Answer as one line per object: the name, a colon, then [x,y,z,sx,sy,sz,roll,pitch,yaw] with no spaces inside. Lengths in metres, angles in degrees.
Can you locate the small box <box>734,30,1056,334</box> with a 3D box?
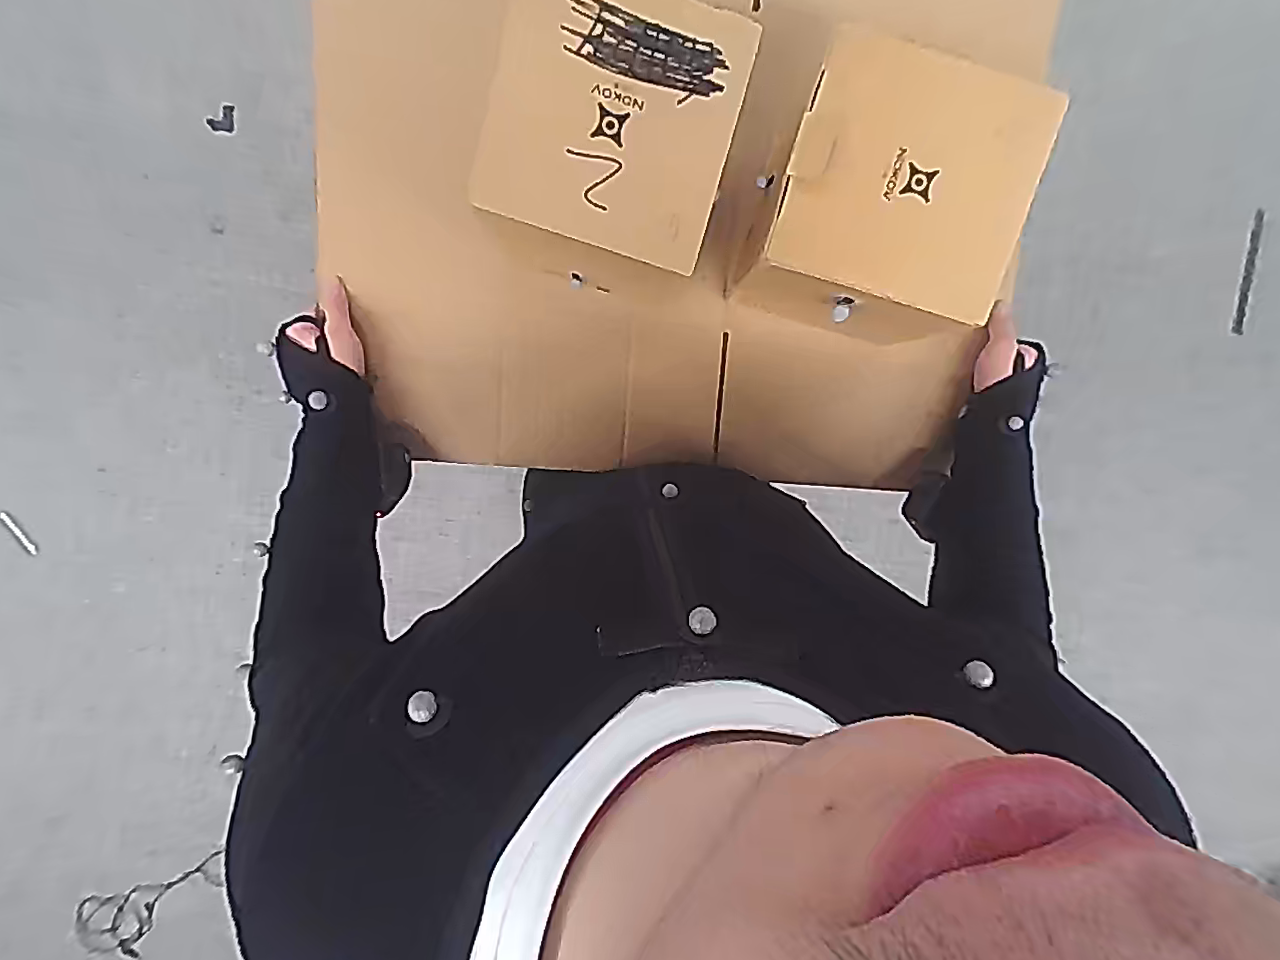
small box: [0.199,-0.235,0.481,0.179,0.176,0.168,16,99,-1]
